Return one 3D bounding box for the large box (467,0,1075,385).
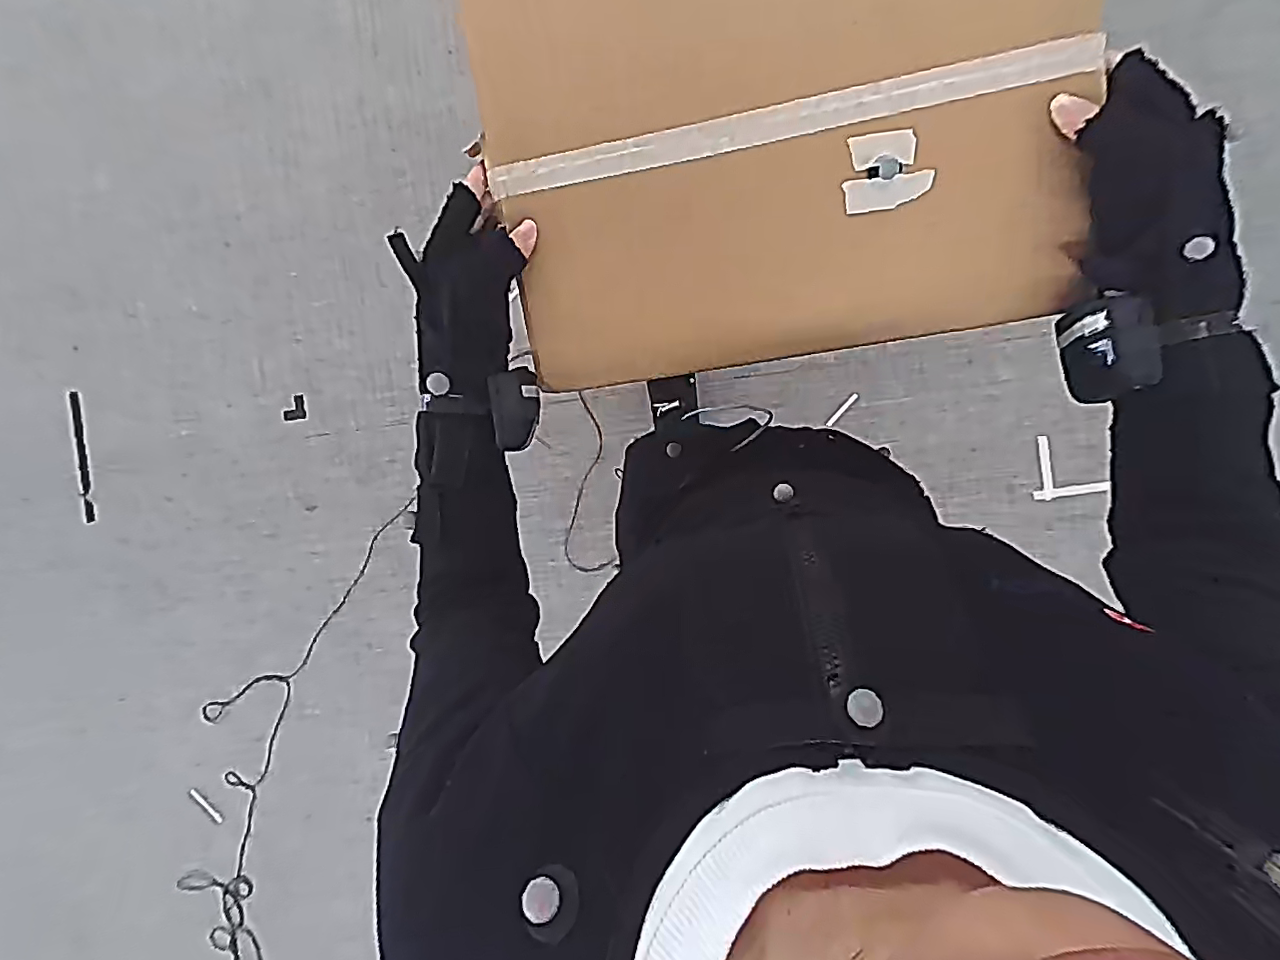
[{"bbox_3d":[0.104,-0.289,0.529,0.408,0.320,0.320,-8,104,7],"label":"large box"}]
